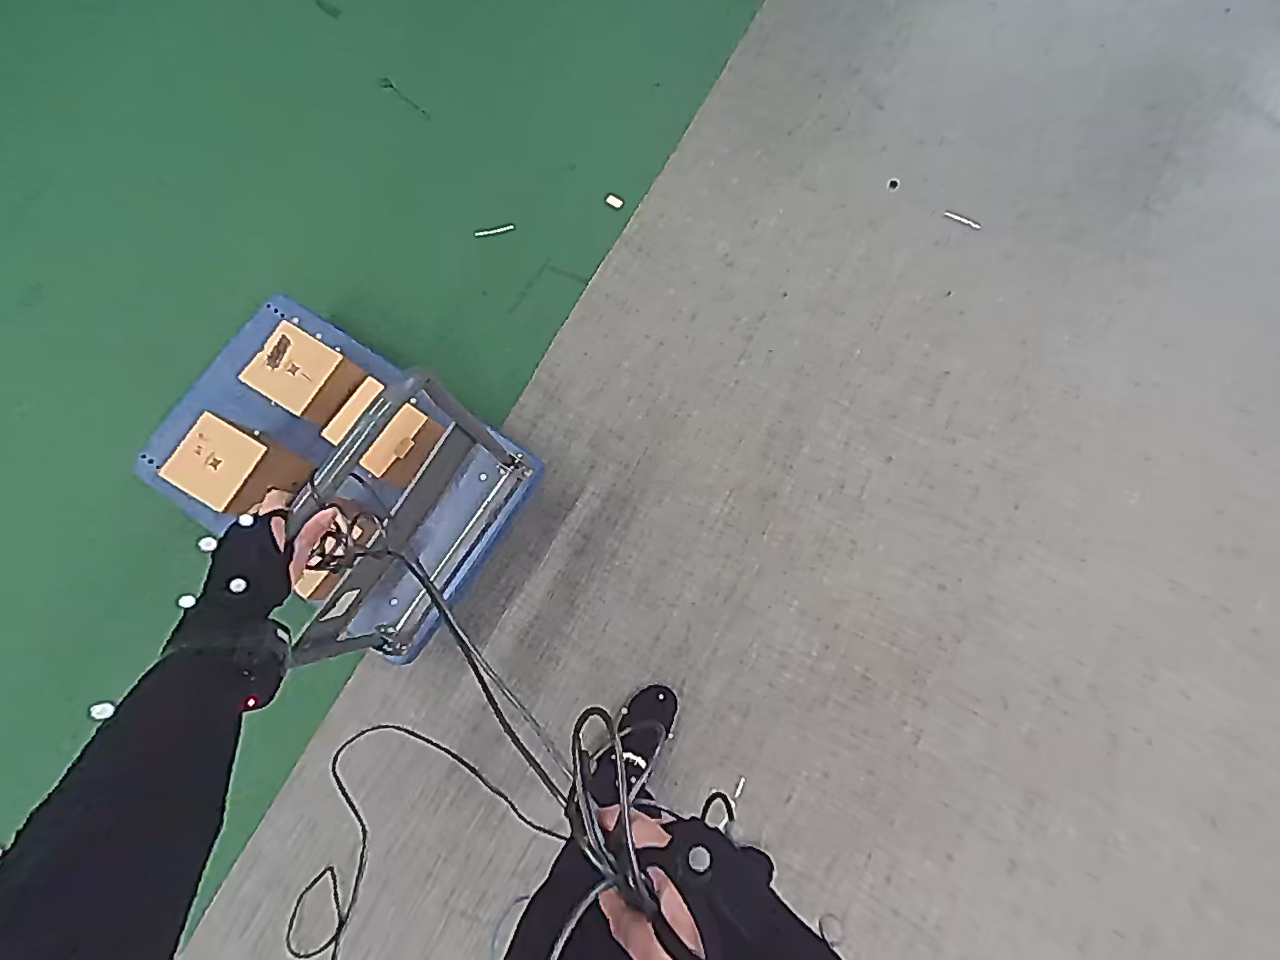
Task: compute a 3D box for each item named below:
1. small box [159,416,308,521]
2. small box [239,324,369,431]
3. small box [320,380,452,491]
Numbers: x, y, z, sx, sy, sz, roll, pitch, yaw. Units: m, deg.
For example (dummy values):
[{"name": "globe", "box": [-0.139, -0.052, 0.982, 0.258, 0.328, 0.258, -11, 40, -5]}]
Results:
[{"name": "small box", "box": [-0.914, -0.017, 1.237, 0.179, 0.176, 0.168, 29, 80, 7]}, {"name": "small box", "box": [-0.772, -0.226, 1.274, 0.179, 0.176, 0.168, 32, 82, 6]}, {"name": "small box", "box": [-0.572, -0.093, 1.242, 0.179, 0.176, 0.168, 35, 82, 8]}]
